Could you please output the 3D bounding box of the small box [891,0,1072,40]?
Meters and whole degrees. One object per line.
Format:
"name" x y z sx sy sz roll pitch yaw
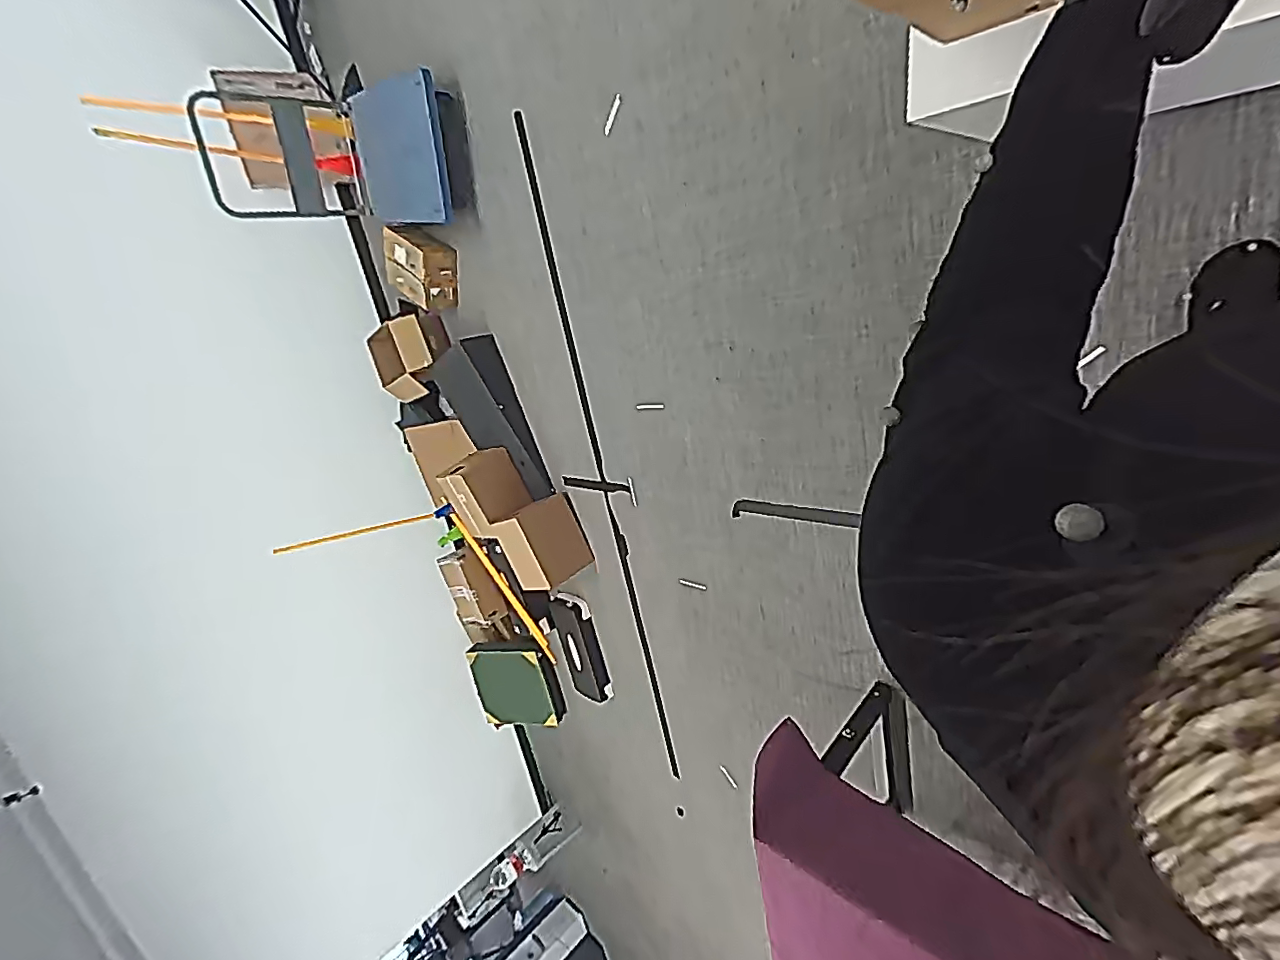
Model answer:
"small box" 0.380 -0.607 0.565 0.168 0.176 0.179 14 119 44

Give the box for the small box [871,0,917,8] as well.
"small box" 0.265 -0.548 0.462 0.179 0.176 0.168 13 120 43
